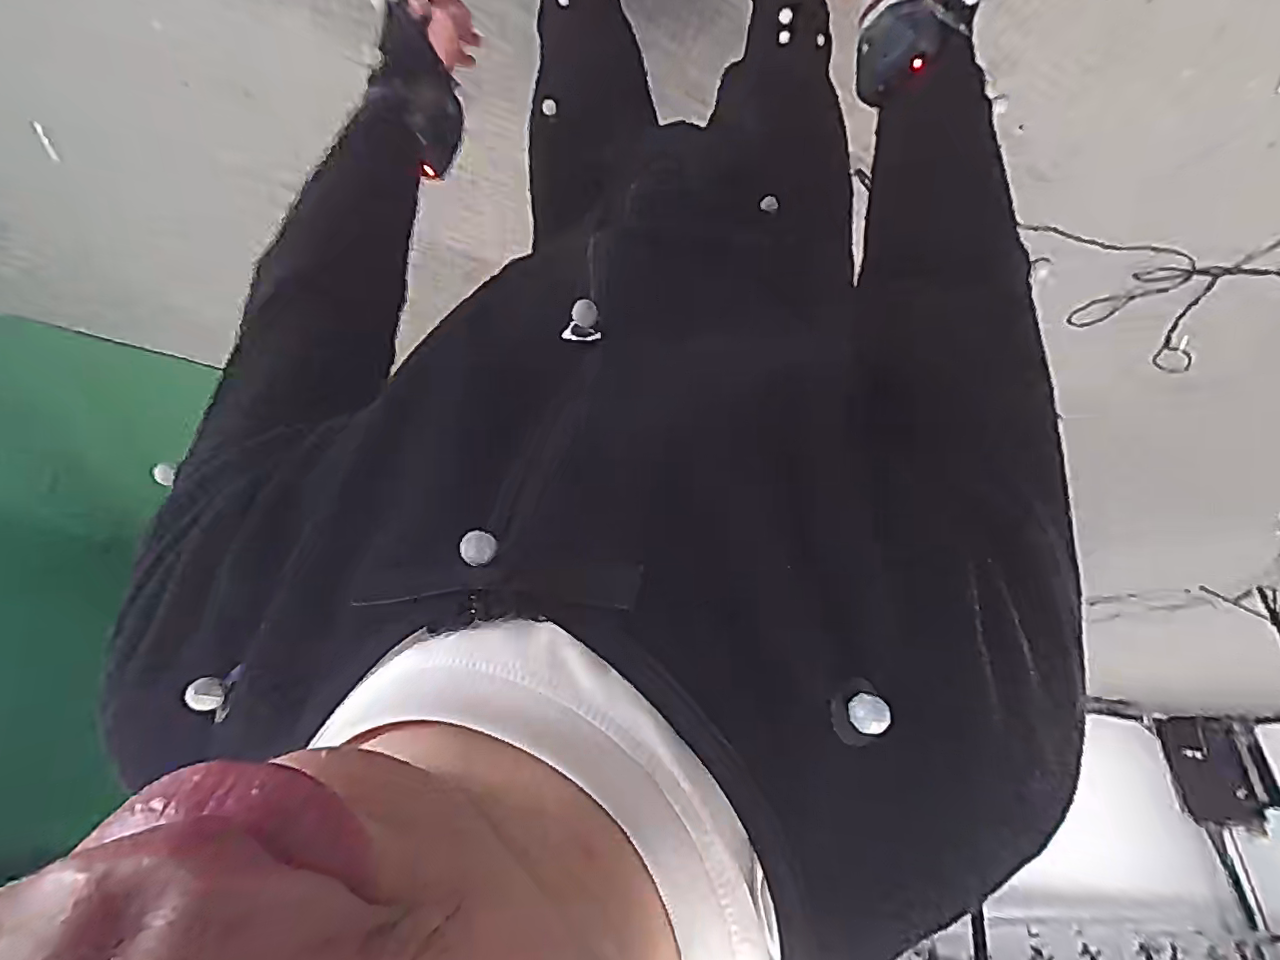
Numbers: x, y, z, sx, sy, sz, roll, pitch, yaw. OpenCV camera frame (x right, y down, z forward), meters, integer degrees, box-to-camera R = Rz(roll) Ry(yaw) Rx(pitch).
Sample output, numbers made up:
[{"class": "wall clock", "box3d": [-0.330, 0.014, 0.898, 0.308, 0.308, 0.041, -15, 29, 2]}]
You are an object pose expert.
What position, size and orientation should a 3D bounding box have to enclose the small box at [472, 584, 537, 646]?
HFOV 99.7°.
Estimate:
[{"class": "small box", "box3d": [-0.477, 0.478, 1.916, 0.168, 0.176, 0.179, 21, 147, -25]}]
